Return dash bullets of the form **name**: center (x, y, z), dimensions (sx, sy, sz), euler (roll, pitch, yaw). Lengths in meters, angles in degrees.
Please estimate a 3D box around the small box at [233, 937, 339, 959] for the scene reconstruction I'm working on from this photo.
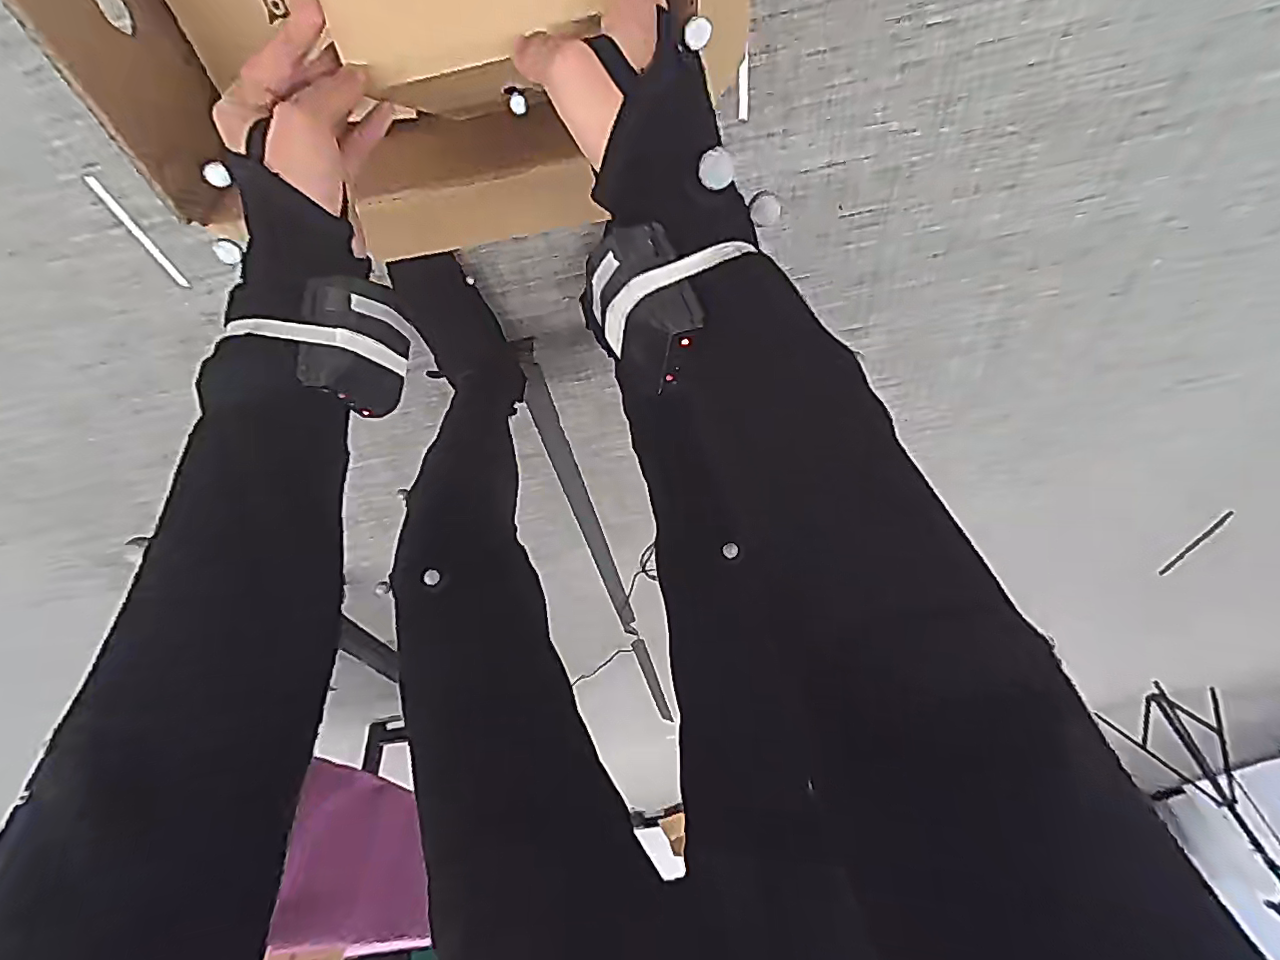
- **small box**: center (-0.832, 1.168, 1.241), dimensions (0.179, 0.176, 0.168), euler (-14, 141, 7)

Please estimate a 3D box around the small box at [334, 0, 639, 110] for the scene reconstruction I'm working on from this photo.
- **small box**: center (-0.095, -0.355, 0.347), dimensions (0.168, 0.176, 0.179), euler (-6, 119, 6)
